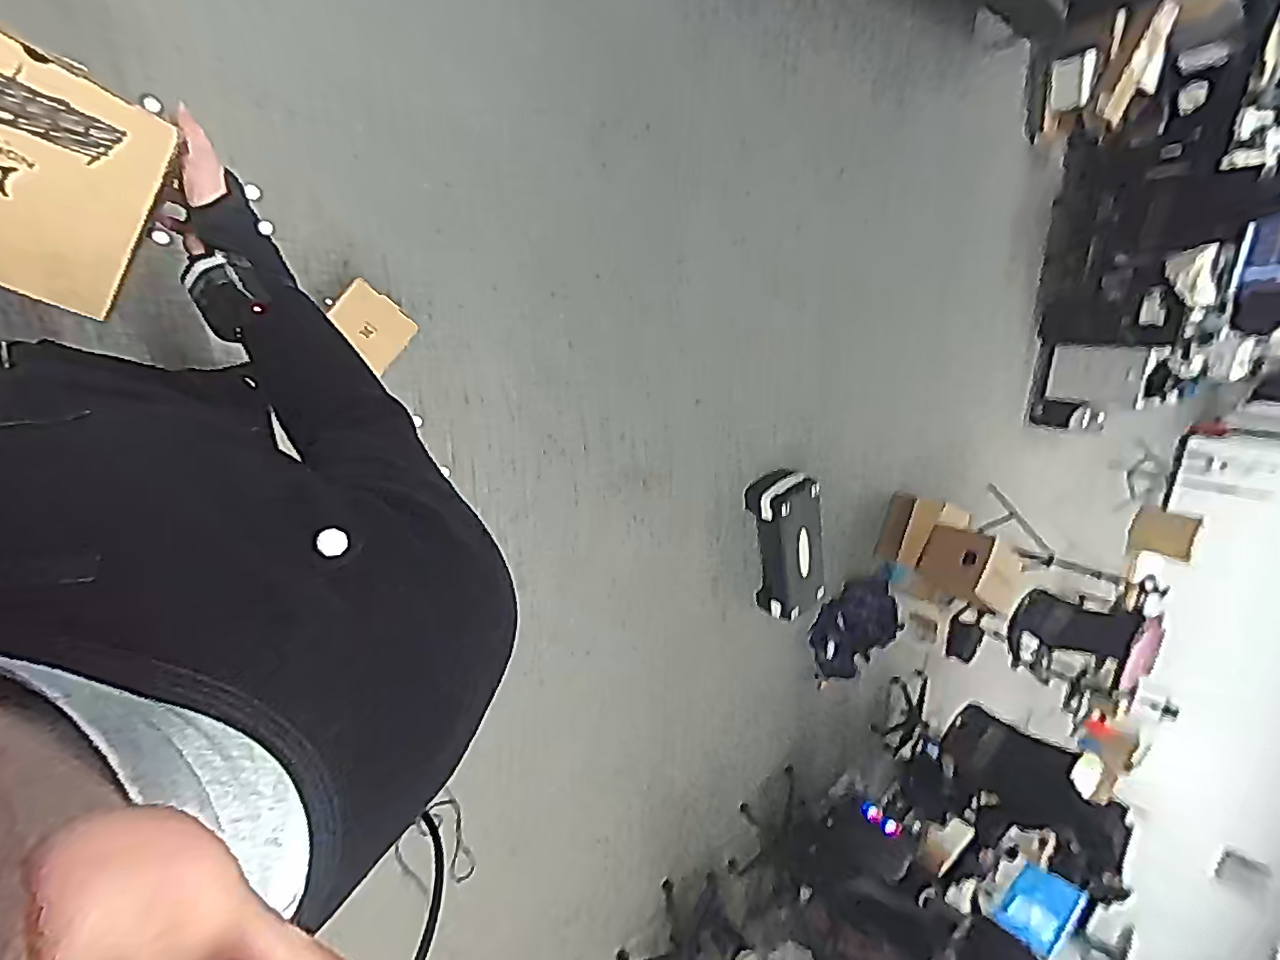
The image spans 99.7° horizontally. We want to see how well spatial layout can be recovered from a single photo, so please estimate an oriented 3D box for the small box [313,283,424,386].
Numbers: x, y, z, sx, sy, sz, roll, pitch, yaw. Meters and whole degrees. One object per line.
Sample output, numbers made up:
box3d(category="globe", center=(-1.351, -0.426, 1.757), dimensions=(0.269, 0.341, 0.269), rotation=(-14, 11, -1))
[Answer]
box3d(category="small box", center=(-0.664, -0.351, 1.311), dimensions=(0.168, 0.176, 0.179), rotation=(40, 79, -36))
